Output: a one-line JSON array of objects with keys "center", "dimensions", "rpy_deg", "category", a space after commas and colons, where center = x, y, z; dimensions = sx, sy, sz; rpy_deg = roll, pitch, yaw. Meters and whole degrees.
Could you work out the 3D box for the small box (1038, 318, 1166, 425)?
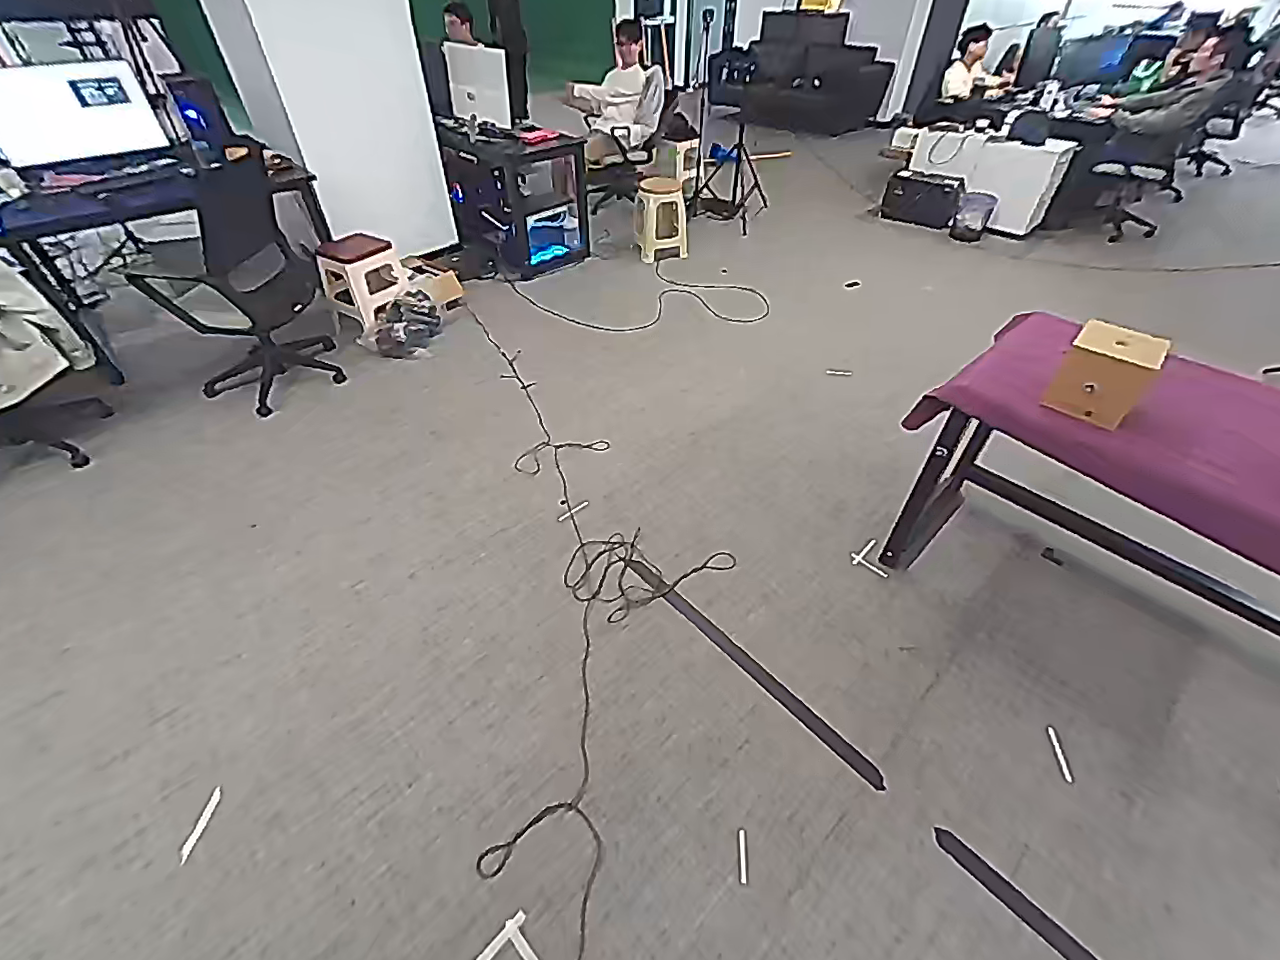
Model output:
[{"center": [1.098, -0.258, 1.296], "dimensions": [0.168, 0.176, 0.179], "rpy_deg": [33, 51, 29], "category": "small box"}]
